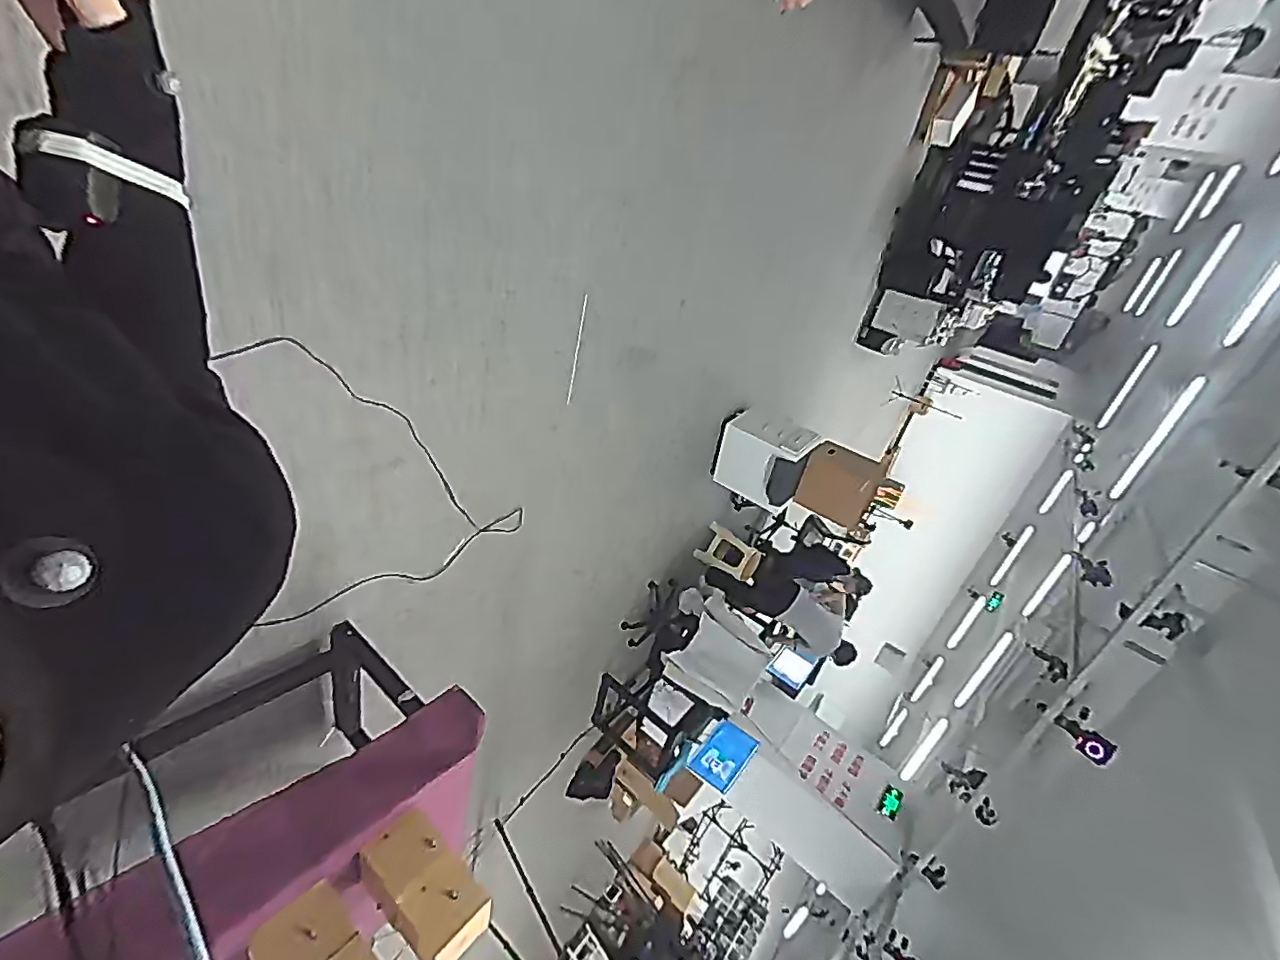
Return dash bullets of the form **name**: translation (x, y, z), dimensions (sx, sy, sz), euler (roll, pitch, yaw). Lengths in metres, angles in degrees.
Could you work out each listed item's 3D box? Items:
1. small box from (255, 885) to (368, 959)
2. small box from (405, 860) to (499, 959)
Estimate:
- **small box**: translation (-0.769, 1.120, 1.275), dimensions (0.179, 0.176, 0.168), euler (-23, 135, -48)
- **small box**: translation (-0.488, 1.134, 1.396), dimensions (0.168, 0.176, 0.179), euler (-26, 139, -46)
